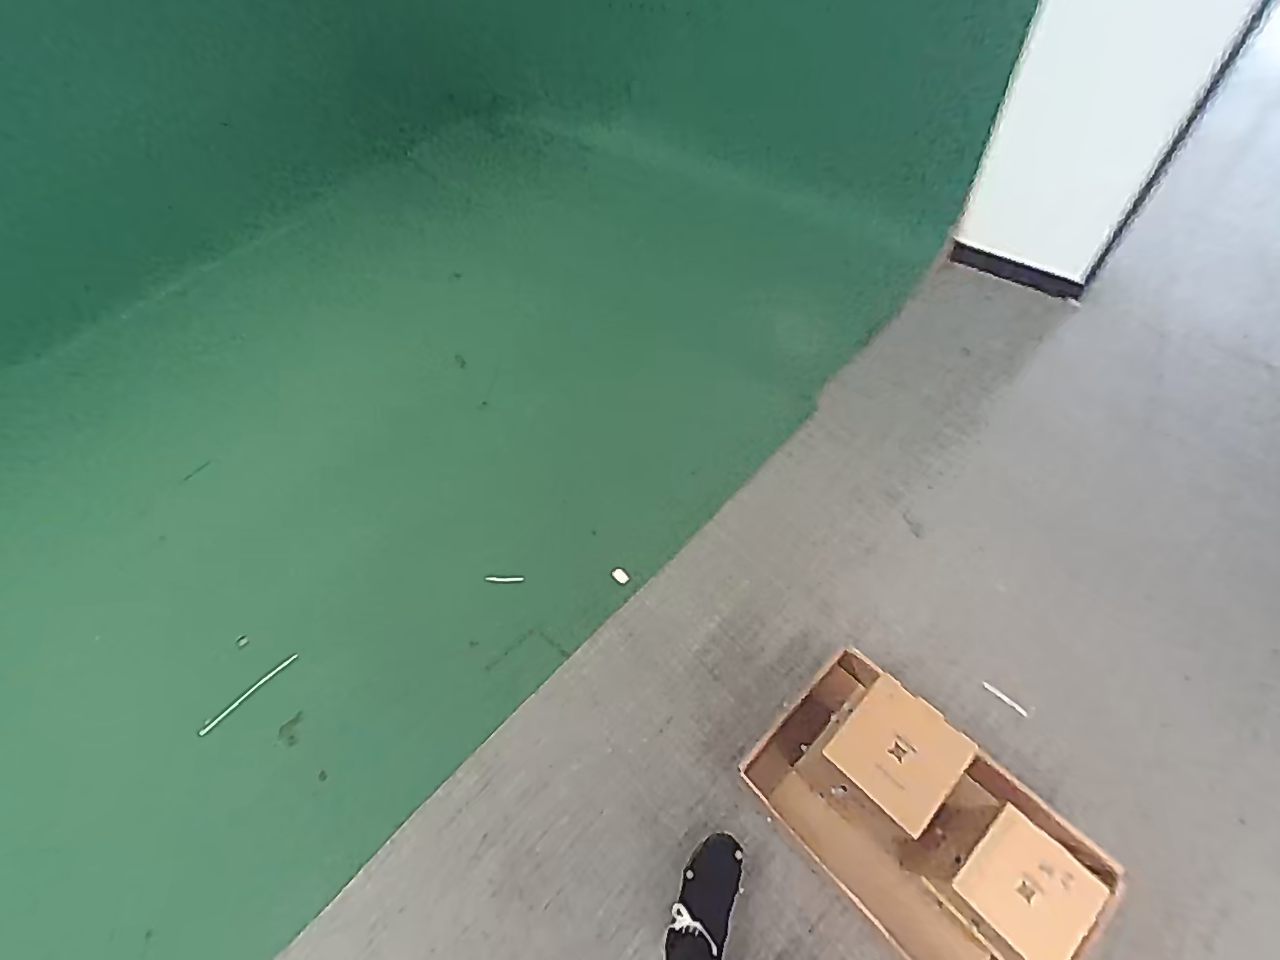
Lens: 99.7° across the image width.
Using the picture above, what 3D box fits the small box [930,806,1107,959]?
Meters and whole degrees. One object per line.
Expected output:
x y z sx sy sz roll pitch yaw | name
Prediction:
0.631 0.700 0.929 0.179 0.176 0.168 -39 59 -15 | small box

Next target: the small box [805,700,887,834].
0.442 0.550 1.055 0.179 0.176 0.168 -41 60 -16 | small box

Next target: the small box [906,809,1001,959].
0.655 0.788 1.067 0.179 0.176 0.168 -40 59 -15 | small box

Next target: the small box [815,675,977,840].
0.418 0.467 0.917 0.179 0.176 0.168 -42 61 -15 | small box
